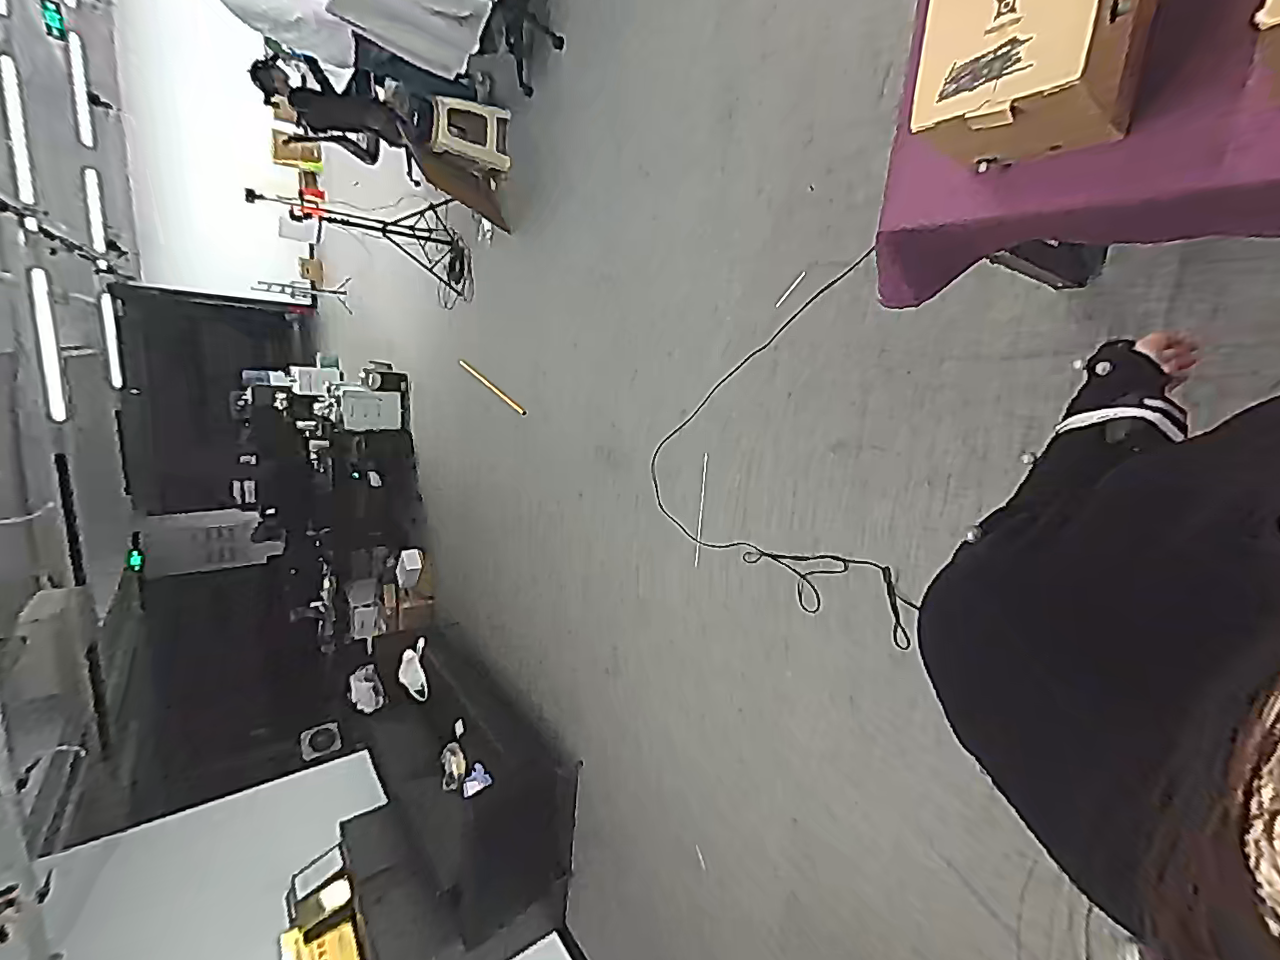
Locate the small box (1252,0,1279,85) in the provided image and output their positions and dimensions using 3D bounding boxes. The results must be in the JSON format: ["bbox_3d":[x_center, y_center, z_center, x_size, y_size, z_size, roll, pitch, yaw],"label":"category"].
[{"bbox_3d":[0.604,-0.422,0.396,0.168,0.176,0.179,20,109,49],"label":"small box"}]

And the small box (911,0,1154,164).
[{"bbox_3d":[0.438,-0.480,0.606,0.168,0.176,0.179,19,107,50],"label":"small box"}]
